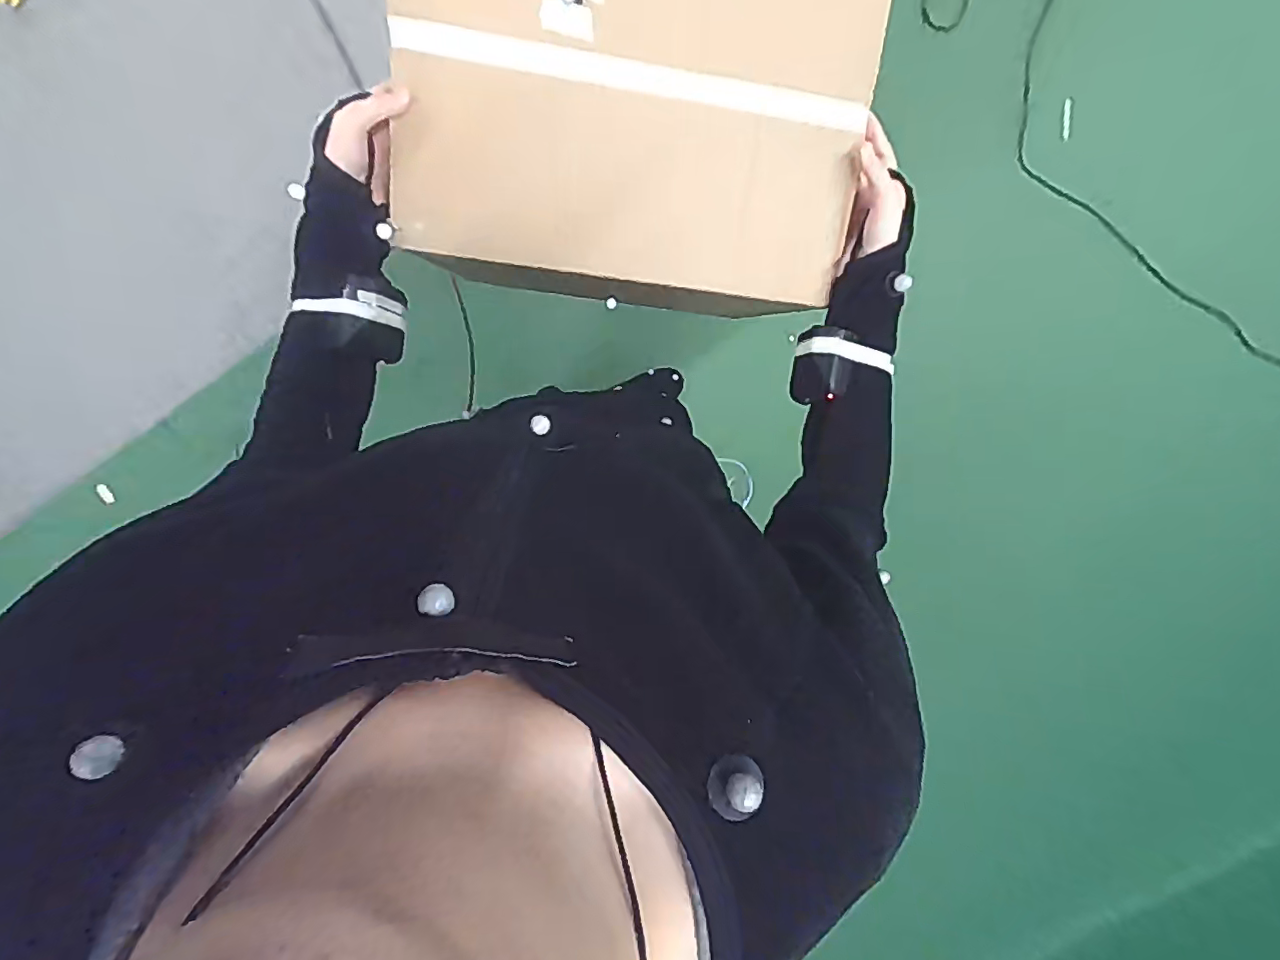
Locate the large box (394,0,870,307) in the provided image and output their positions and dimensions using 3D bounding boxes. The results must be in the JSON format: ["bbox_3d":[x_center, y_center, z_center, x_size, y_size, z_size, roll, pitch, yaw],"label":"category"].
[{"bbox_3d":[-0.018,-0.375,0.609,0.408,0.320,0.320,4,104,-7],"label":"large box"}]
